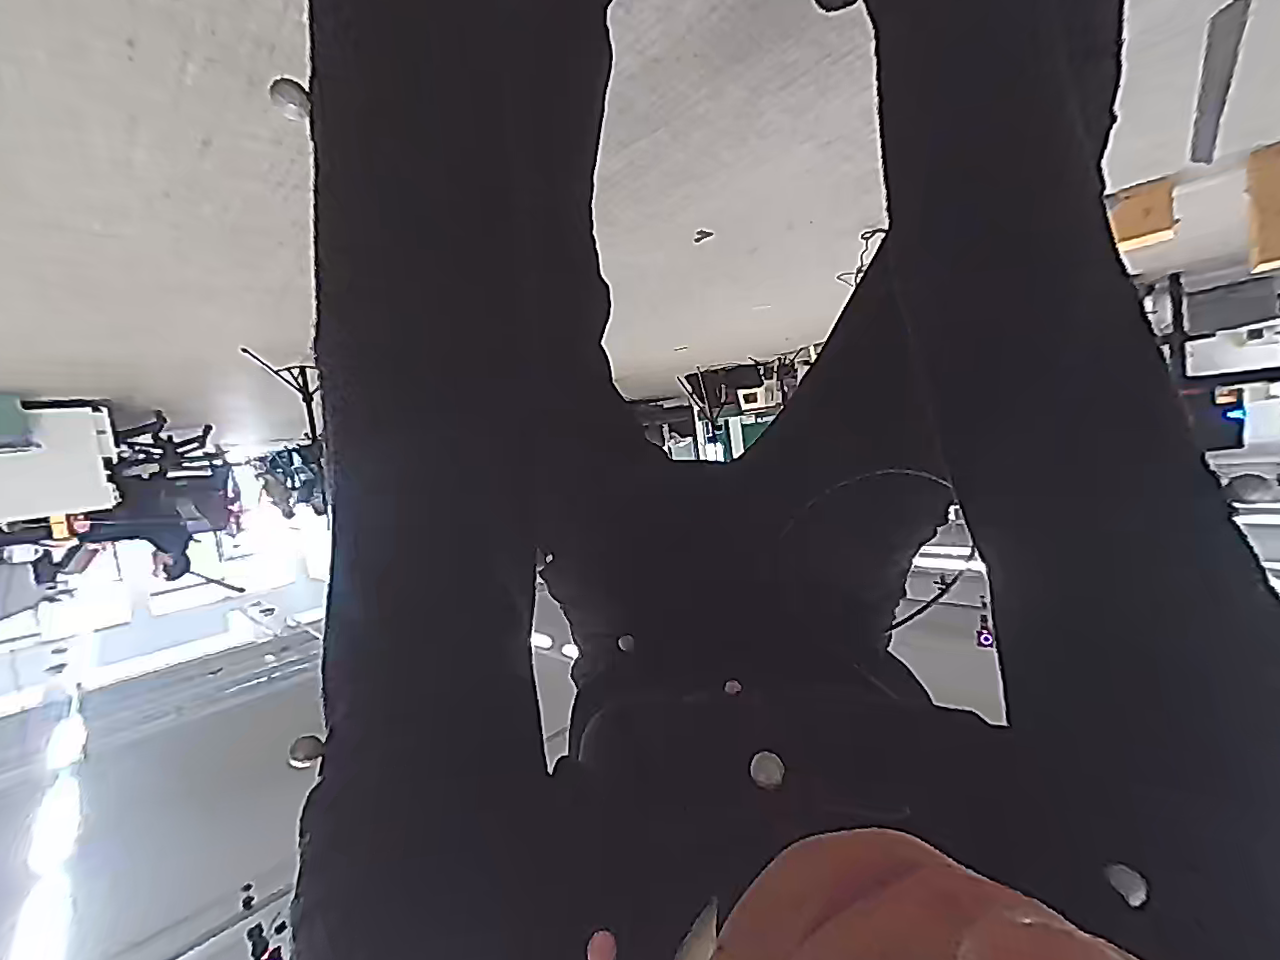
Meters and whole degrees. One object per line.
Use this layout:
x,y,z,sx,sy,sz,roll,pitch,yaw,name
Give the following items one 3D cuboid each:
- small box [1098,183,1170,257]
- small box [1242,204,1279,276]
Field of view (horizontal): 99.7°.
1.681,-0.882,1.839,0.179,0.176,0.168,-12,-174,-43,small box
1.942,-0.733,1.622,0.168,0.176,0.179,-5,-176,43,small box
